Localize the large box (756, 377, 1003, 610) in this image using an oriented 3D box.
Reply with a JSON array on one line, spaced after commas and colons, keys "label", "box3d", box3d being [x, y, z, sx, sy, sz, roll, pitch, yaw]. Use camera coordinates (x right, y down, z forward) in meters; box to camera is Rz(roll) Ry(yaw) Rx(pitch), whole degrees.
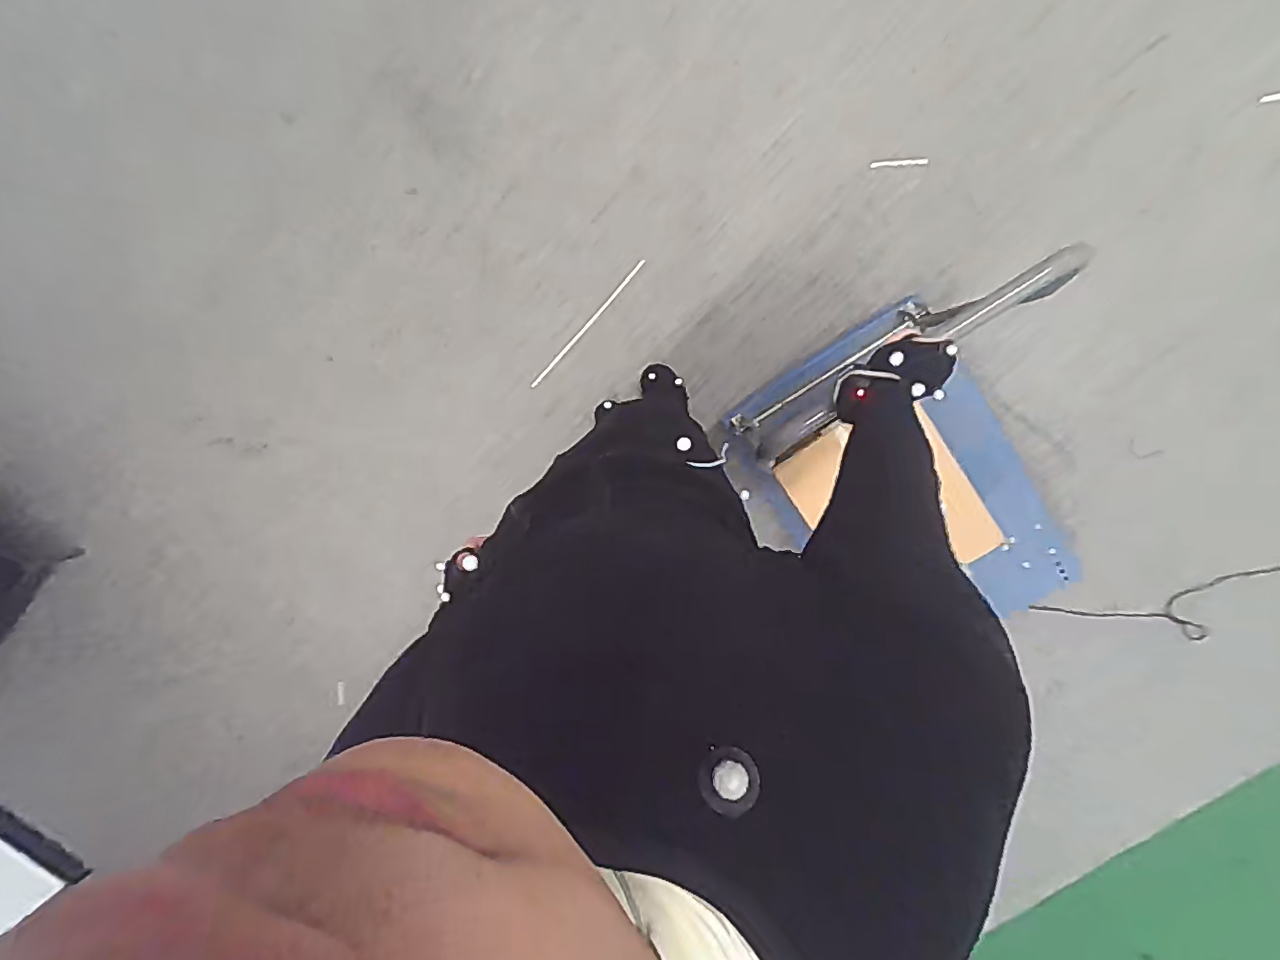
[{"label": "large box", "box3d": [0.524, 0.011, 1.264, 0.320, 0.320, 0.408, -34, 98, 12]}]
